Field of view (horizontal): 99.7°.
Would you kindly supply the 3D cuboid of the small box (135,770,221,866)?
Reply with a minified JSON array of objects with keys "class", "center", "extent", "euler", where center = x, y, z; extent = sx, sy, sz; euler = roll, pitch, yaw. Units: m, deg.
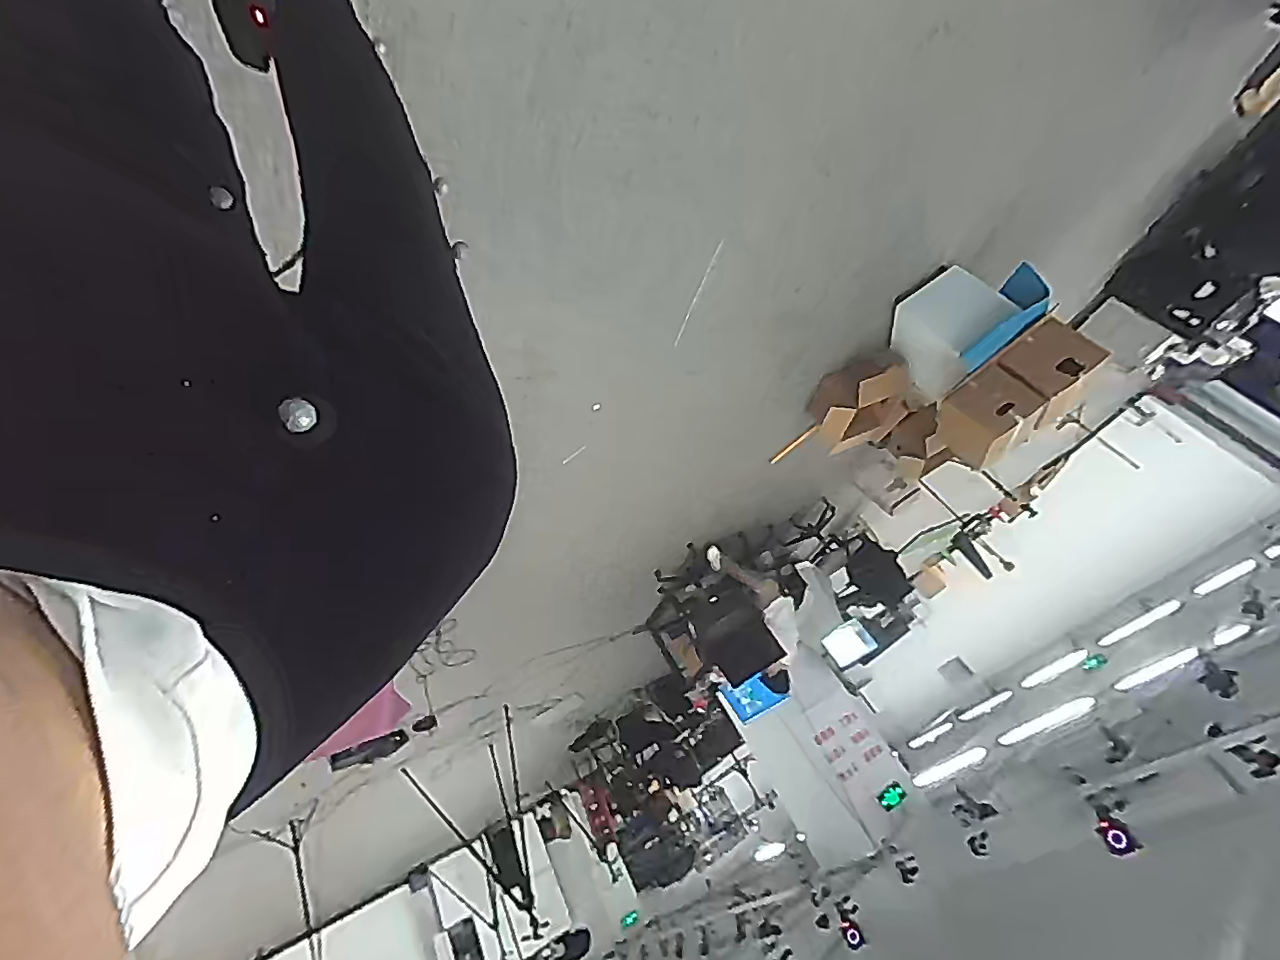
[{"class":"small box","center":[-1.355,0.985,1.589],"extent":[0.168,0.176,0.179],"euler":[-10,143,-33]}]
